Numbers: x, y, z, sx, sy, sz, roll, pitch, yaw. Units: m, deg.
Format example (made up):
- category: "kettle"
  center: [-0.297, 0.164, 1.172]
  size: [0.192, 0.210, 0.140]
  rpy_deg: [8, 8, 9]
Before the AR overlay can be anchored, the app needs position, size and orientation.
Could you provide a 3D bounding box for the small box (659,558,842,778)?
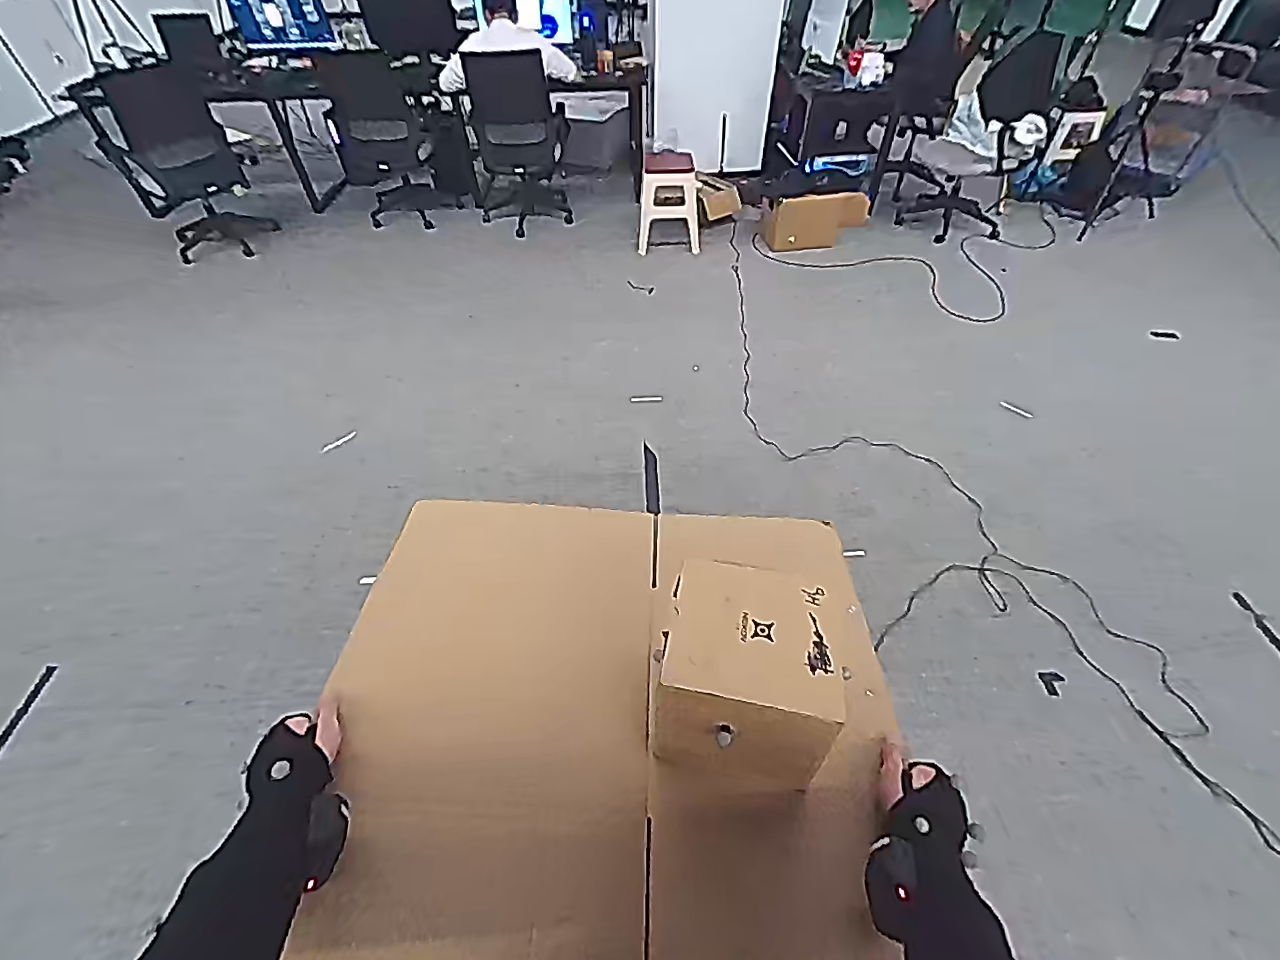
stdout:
- category: "small box"
  center: [0.121, 0.216, 0.622]
  size: [0.179, 0.176, 0.168]
  rpy_deg: [7, 43, 10]
